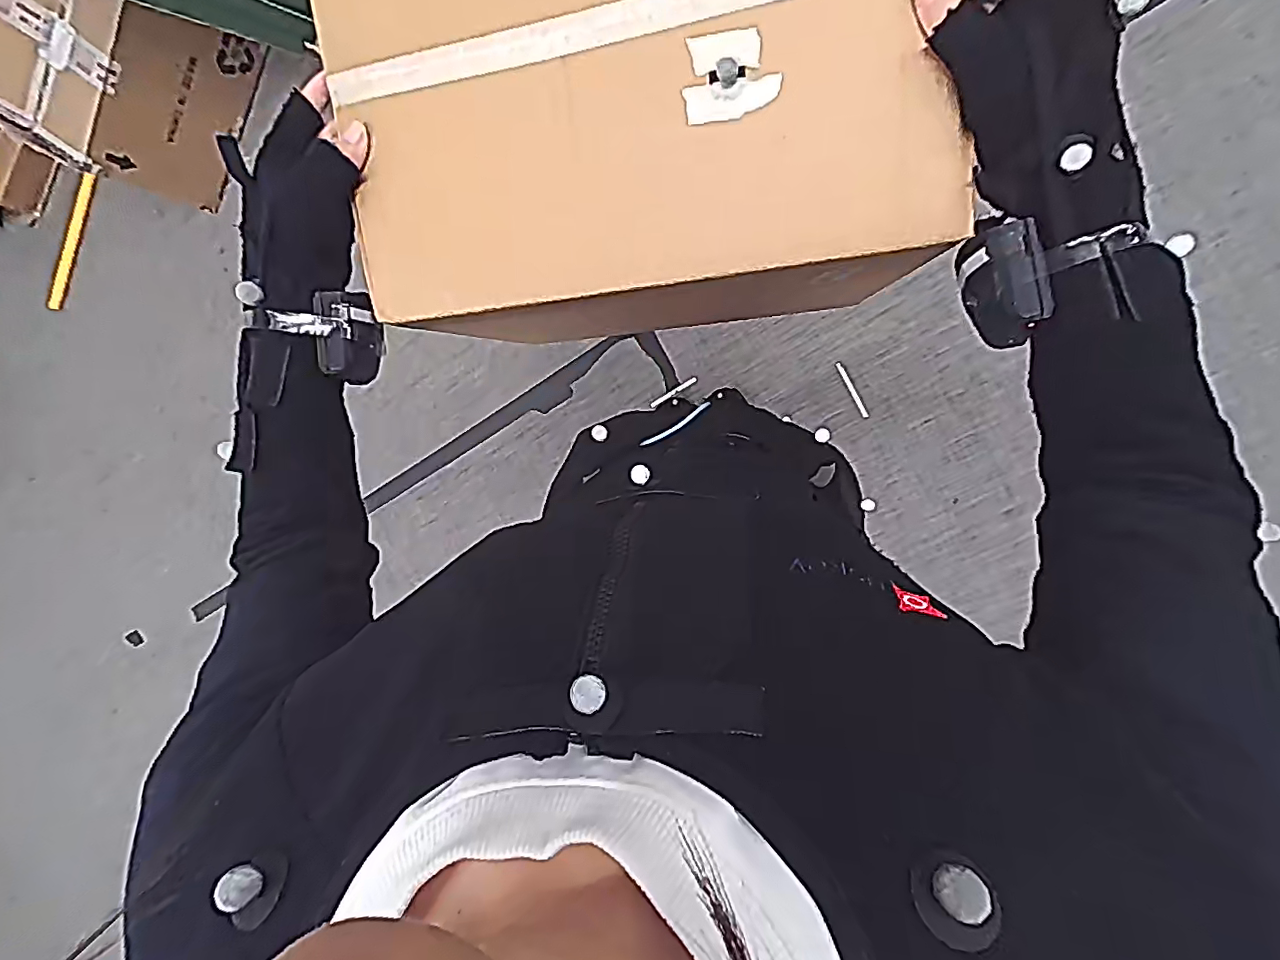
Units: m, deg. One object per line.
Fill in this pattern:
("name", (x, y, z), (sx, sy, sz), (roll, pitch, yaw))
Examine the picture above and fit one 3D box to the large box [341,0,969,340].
("large box", (0.015, -0.320, 0.493), (0.408, 0.320, 0.320), (-5, 101, 10))
